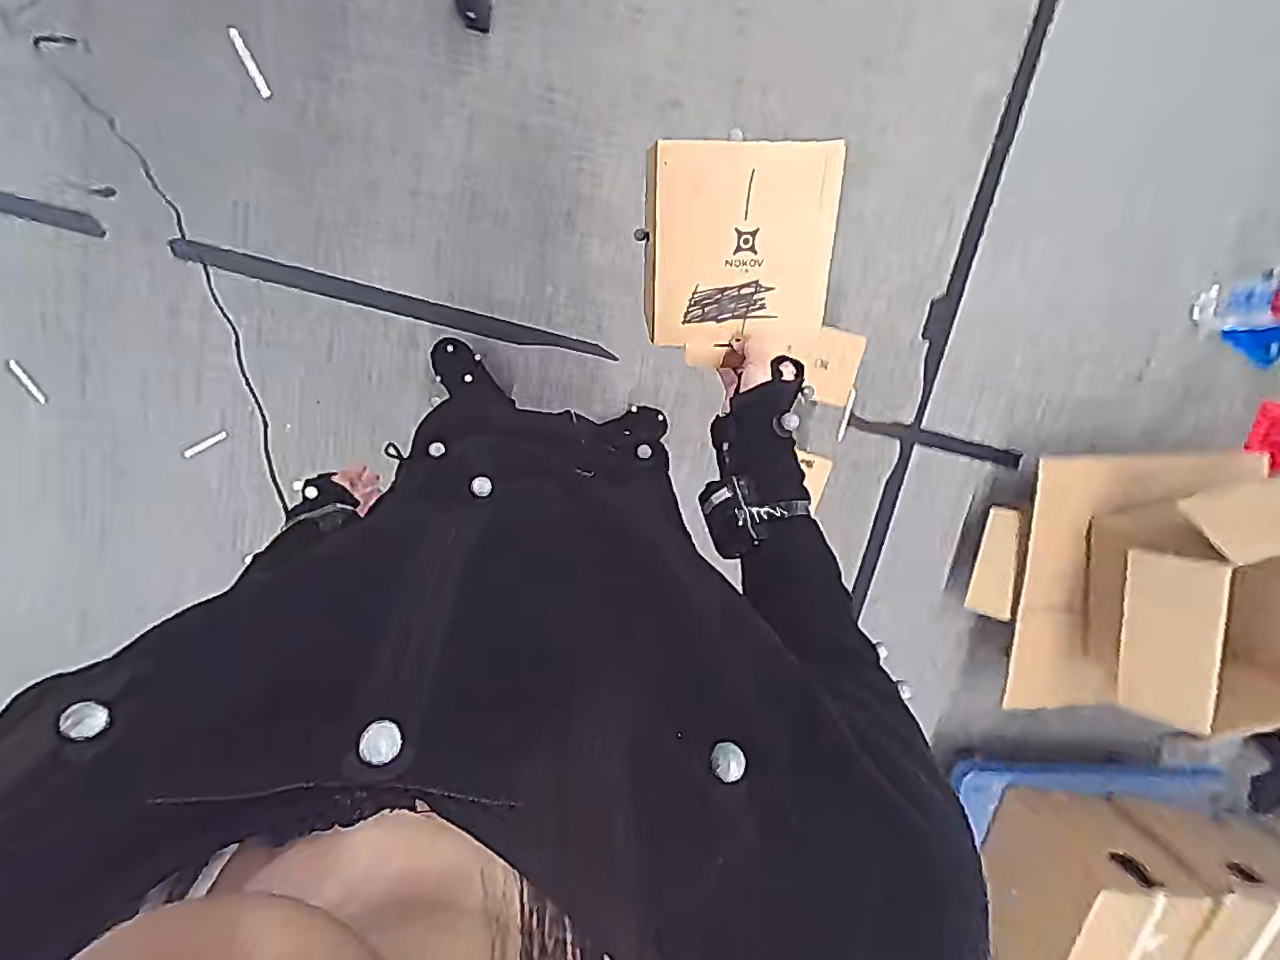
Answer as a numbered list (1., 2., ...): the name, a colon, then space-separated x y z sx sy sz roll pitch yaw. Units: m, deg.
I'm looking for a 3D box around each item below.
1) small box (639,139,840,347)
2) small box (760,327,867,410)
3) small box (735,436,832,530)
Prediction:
1. small box: 0.086 -0.247 0.566 0.168 0.176 0.179 -2 117 -3
2. small box: 0.414 -0.278 1.323 0.179 0.176 0.168 11 103 -8
3. small box: 0.357 0.002 1.385 0.168 0.176 0.179 17 102 -8
